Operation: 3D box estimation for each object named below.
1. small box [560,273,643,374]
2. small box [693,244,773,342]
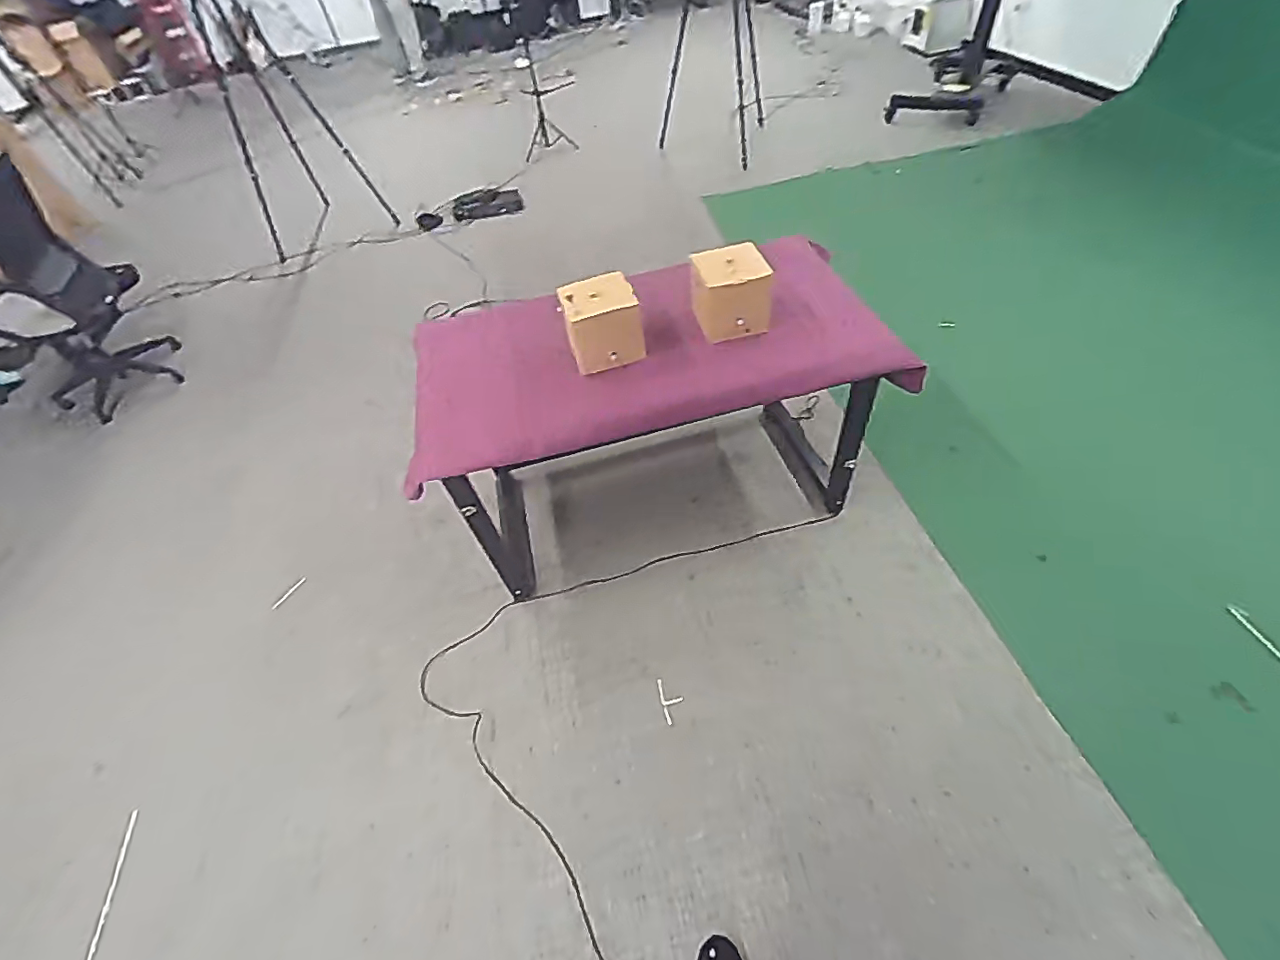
[{"bbox_3d":[-0.095,-0.402,1.400,0.179,0.176,0.168,-17,50,-6],"label":"small box"},{"bbox_3d":[0.239,-0.491,1.424,0.168,0.176,0.179,-13,50,-2],"label":"small box"}]
